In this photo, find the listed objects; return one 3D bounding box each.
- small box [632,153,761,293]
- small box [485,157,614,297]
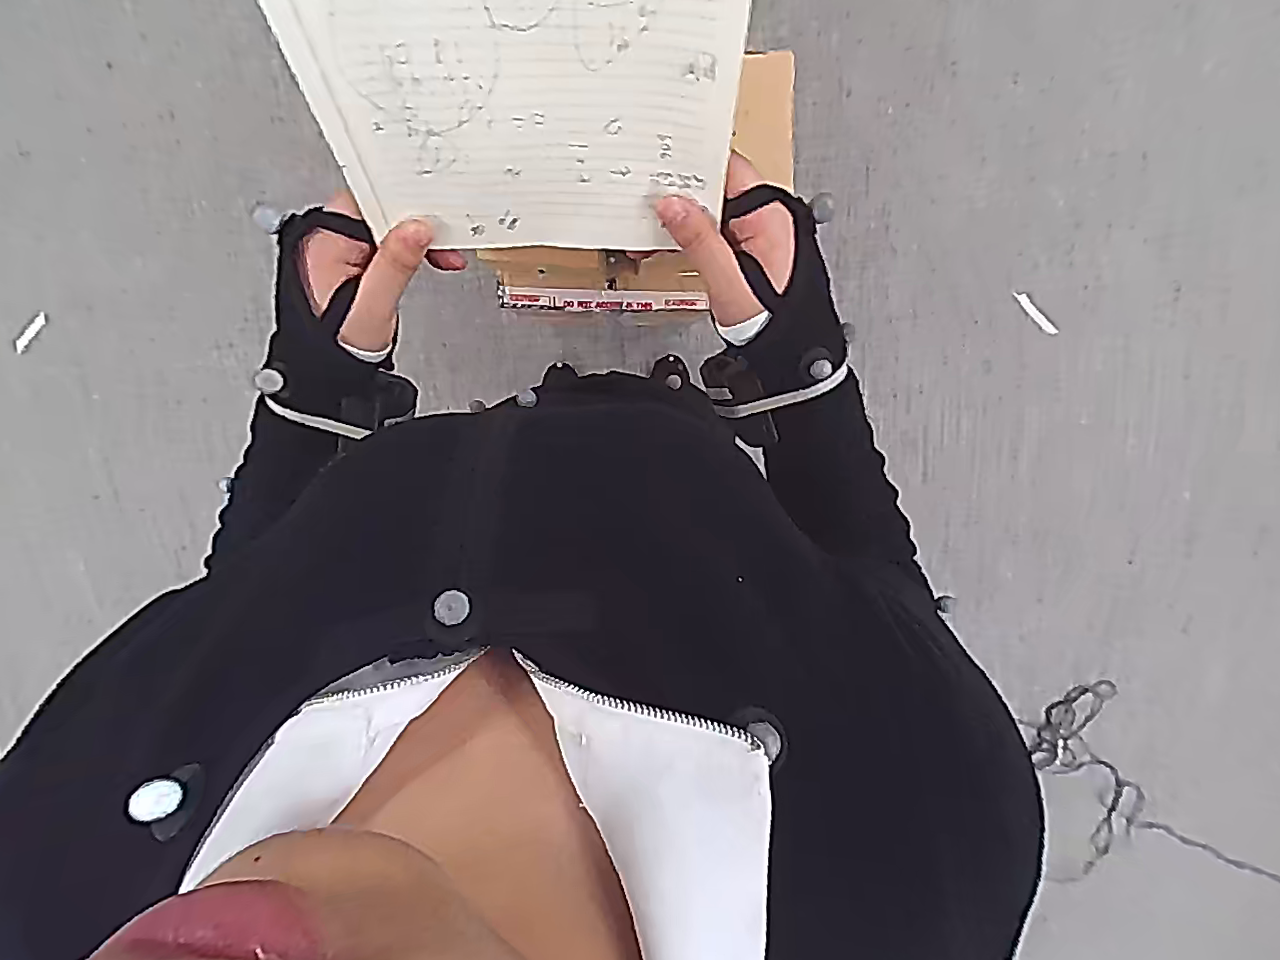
[{"bbox_3d":[0.083,-0.392,0.849,0.179,0.176,0.168,-5,104,-1],"label":"small box"},{"bbox_3d":[-0.134,-0.383,0.847,0.179,0.176,0.168,4,104,0],"label":"small box"}]
